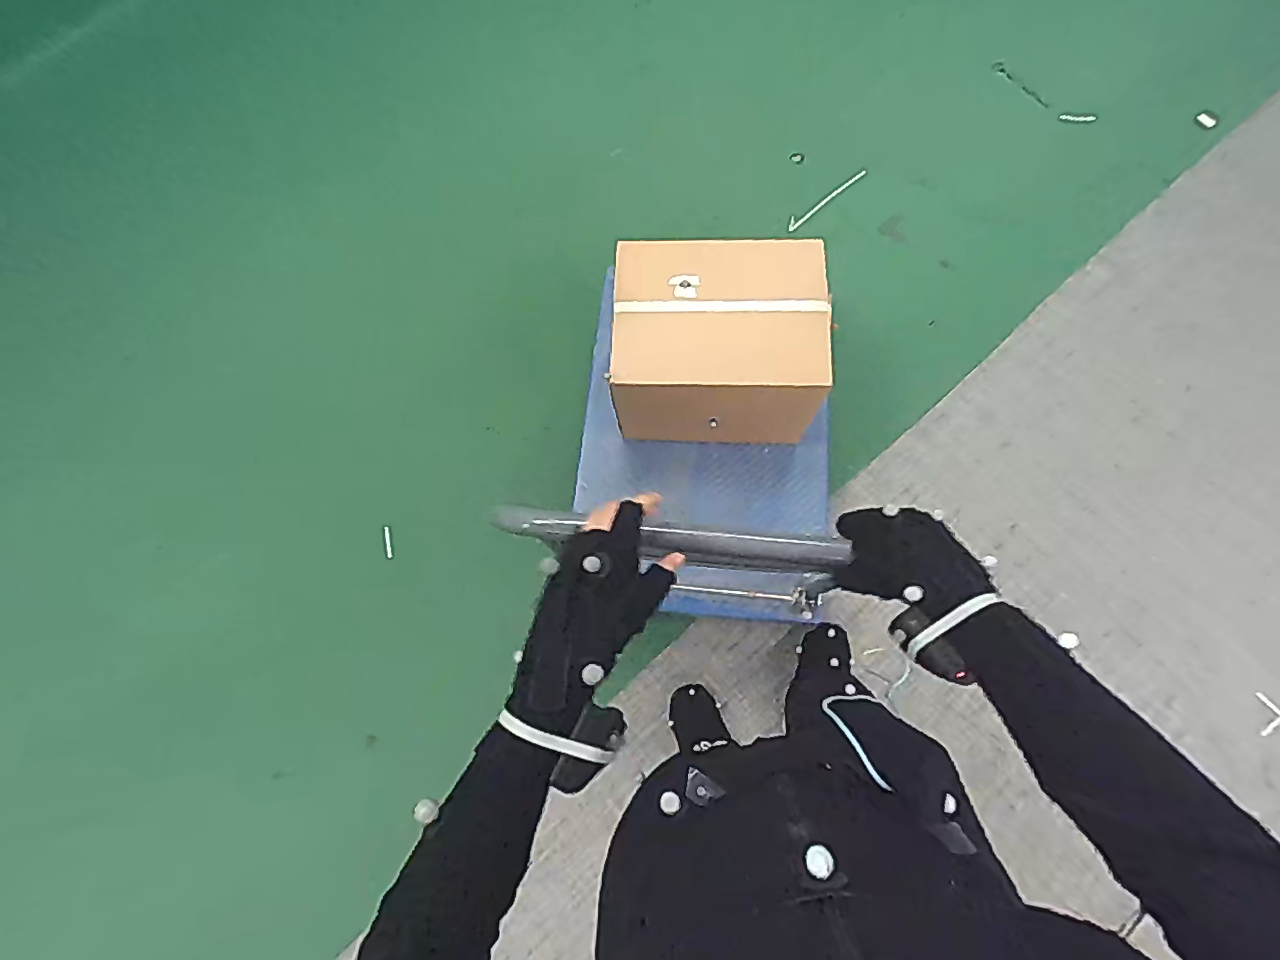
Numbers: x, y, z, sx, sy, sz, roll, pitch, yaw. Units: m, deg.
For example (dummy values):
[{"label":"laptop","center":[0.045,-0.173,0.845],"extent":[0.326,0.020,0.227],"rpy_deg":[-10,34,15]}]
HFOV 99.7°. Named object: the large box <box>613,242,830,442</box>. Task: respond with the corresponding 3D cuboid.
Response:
[{"label":"large box","center":[0.163,-0.277,1.177],"extent":[0.408,0.320,0.320],"rpy_deg":[0,74,5]}]
